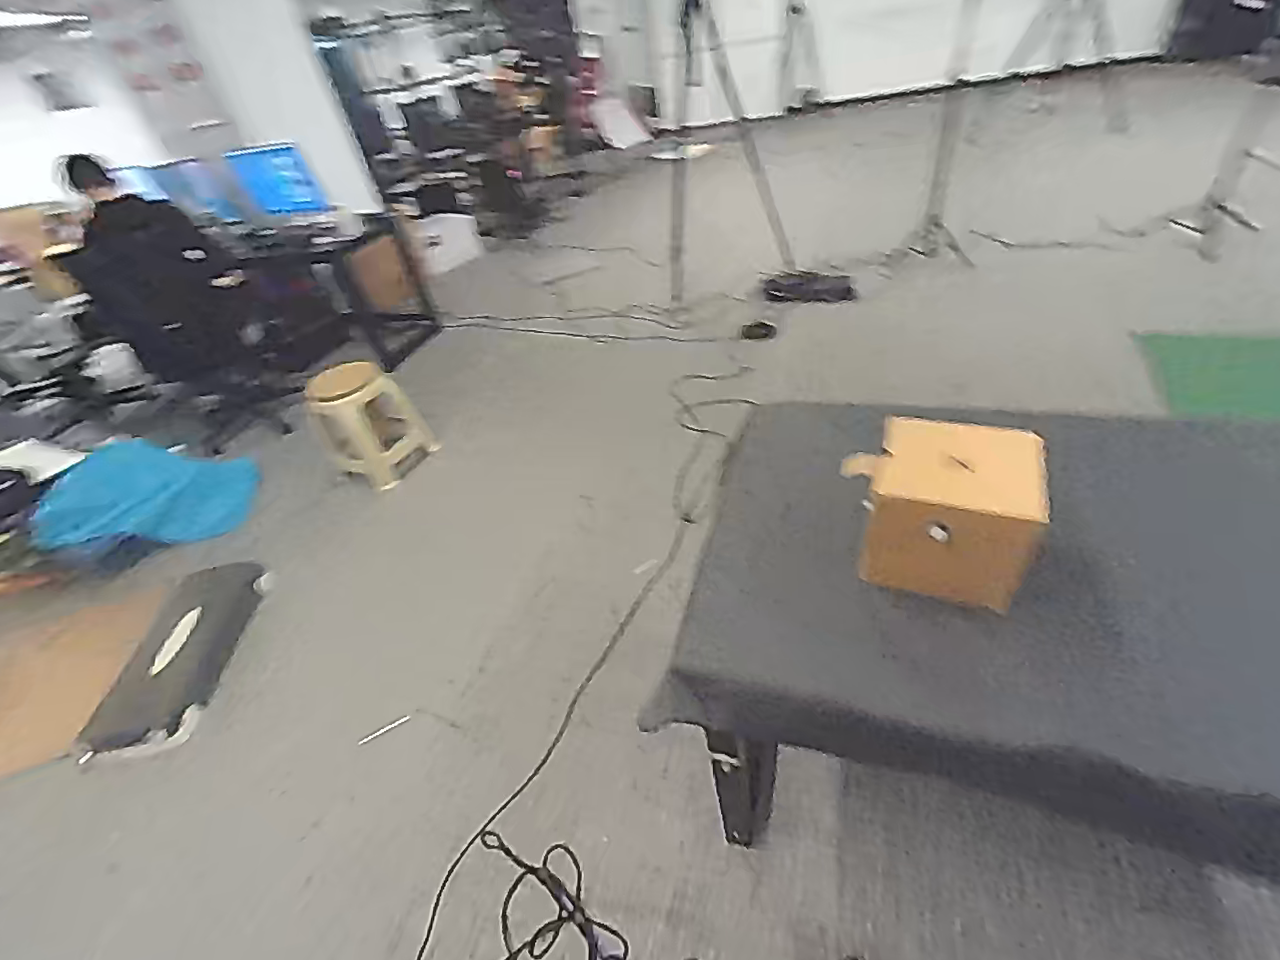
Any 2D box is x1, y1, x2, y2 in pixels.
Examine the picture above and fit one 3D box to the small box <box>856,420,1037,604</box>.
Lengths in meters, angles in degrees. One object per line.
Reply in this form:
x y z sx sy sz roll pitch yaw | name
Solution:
0.402 0.042 0.729 0.179 0.176 0.168 10 44 25 | small box
